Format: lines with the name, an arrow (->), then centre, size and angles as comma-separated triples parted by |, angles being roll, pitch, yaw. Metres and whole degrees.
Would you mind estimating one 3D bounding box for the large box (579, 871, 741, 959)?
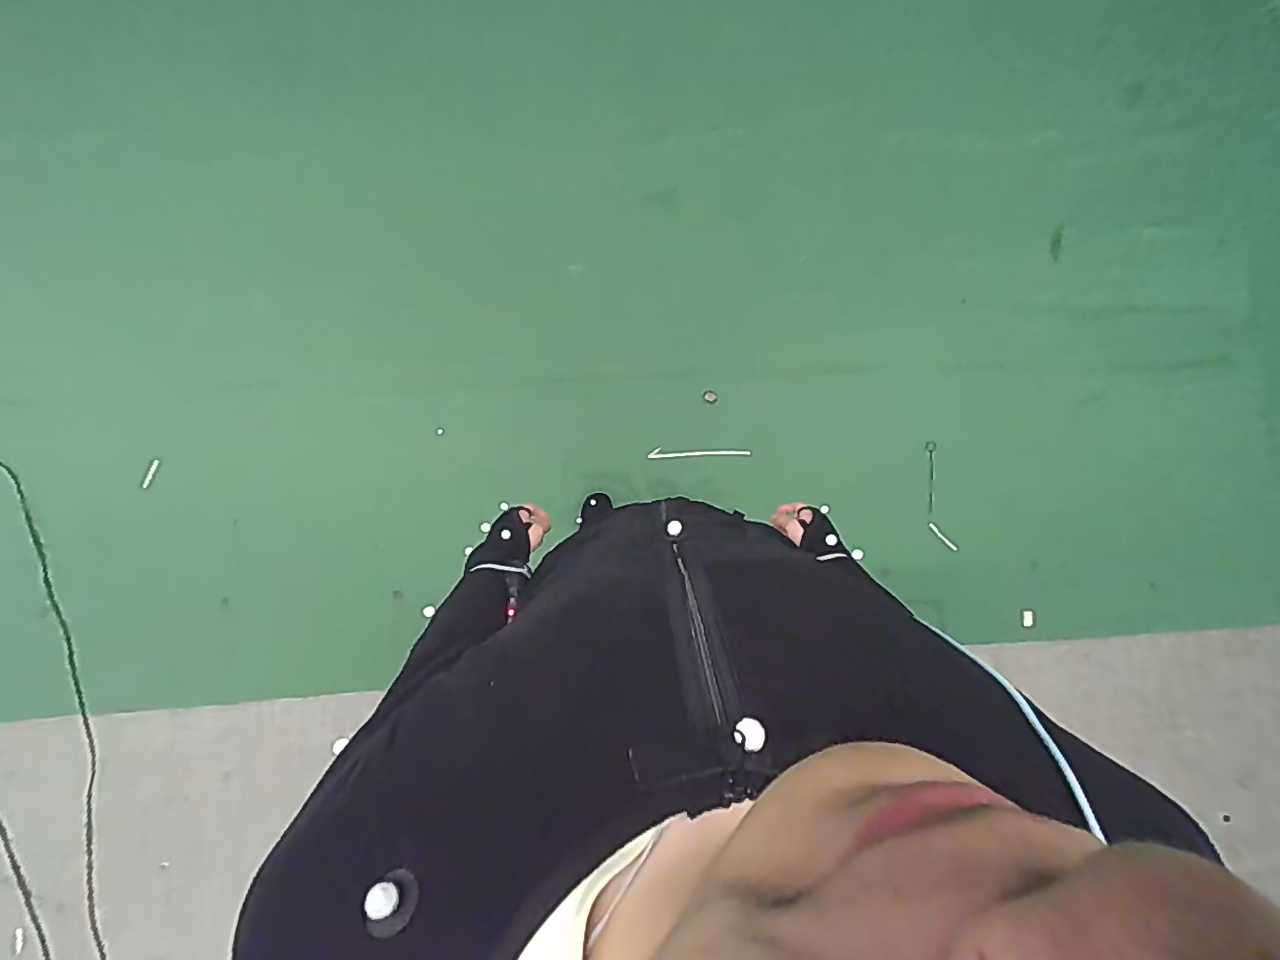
large box -> 0.055, 1.334, 1.461 | 0.408, 0.320, 0.320 | -5, 88, -4
